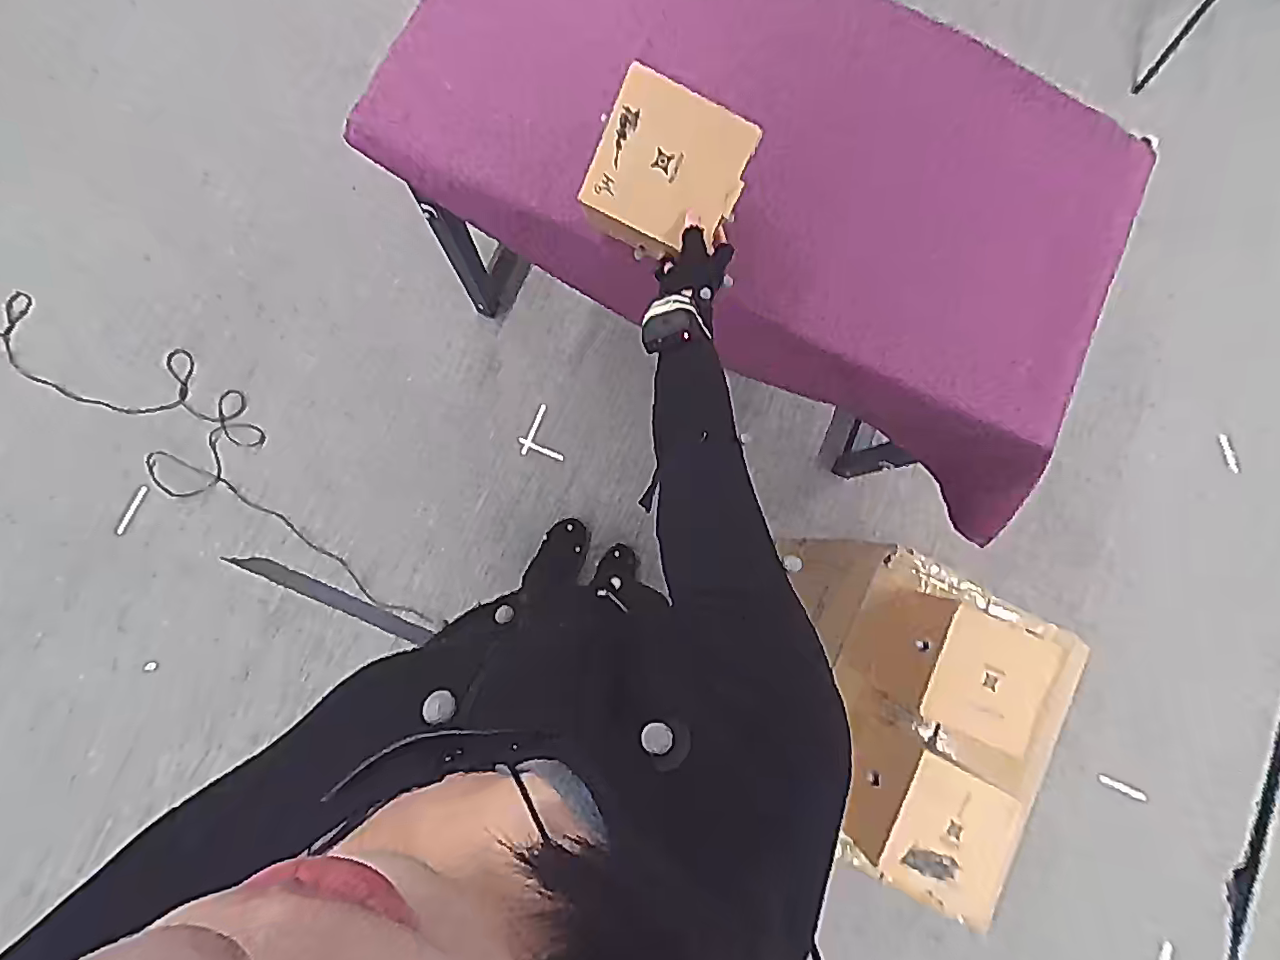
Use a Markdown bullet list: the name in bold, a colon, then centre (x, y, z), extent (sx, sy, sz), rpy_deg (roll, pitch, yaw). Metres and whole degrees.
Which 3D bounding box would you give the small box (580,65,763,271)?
- **small box**: centre (0.038, -0.402, 0.738), extent (0.179, 0.176, 0.168), rpy_deg (25, 103, -5)

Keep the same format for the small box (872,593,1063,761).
- **small box**: centre (0.497, 0.292, 0.848), extent (0.168, 0.176, 0.179), rpy_deg (24, 85, 0)

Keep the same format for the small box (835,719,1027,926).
- **small box**: centre (0.423, 0.500, 0.819), extent (0.168, 0.176, 0.179), rpy_deg (28, 81, 0)
